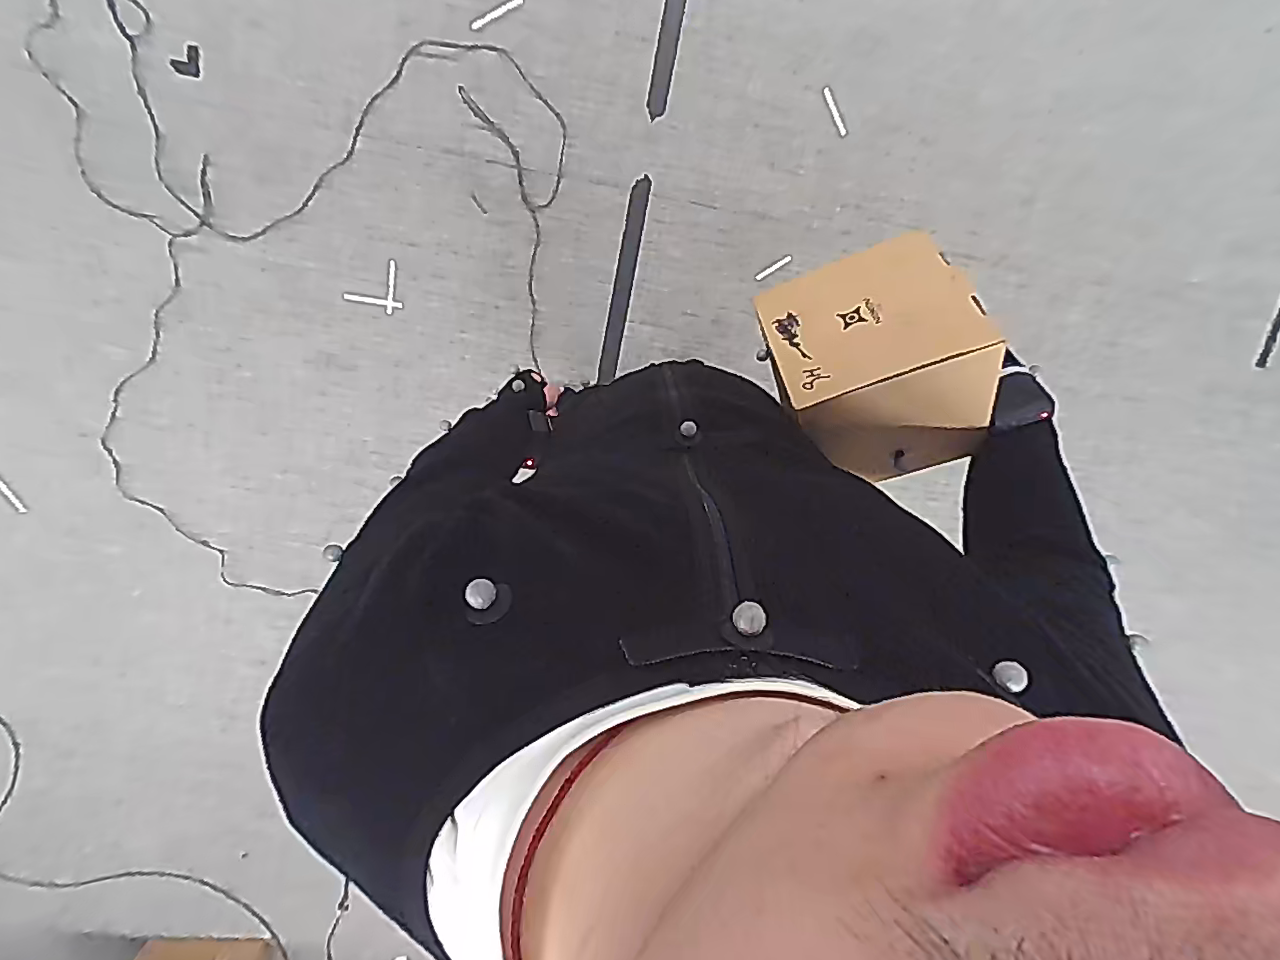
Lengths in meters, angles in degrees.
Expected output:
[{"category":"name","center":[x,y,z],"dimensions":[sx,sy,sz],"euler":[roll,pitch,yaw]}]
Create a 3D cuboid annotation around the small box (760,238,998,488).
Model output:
[{"category":"small box","center":[0.245,-0.116,0.586],"dimensions":[0.179,0.168,0.176],"euler":[-18,143,14]}]
